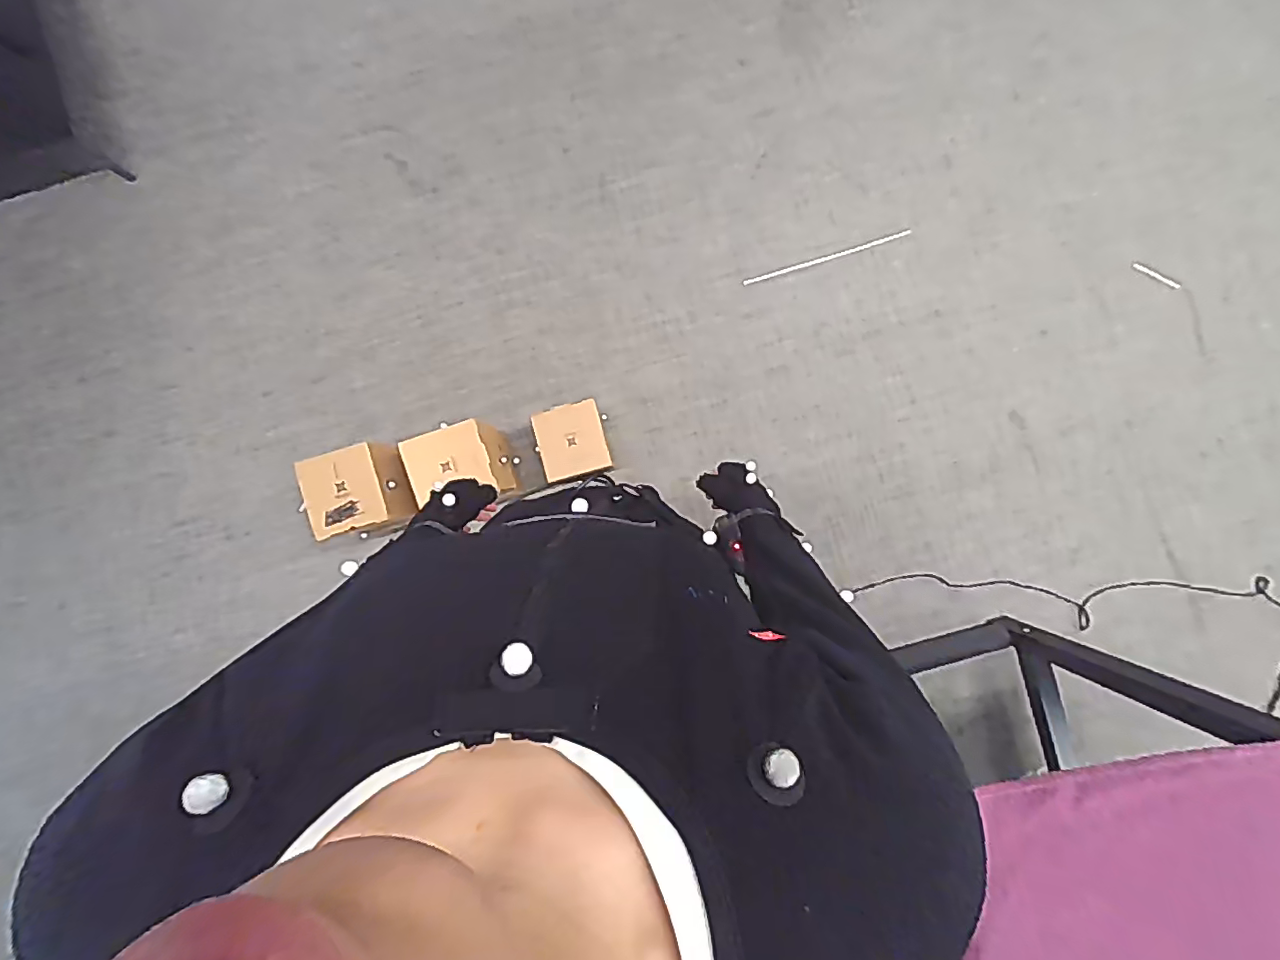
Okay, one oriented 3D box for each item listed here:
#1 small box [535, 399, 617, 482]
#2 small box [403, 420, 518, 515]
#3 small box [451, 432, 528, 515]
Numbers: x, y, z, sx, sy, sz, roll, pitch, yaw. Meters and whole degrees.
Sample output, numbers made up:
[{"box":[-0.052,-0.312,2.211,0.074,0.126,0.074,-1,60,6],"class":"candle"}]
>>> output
[{"box":[-0.160,-0.095,1.400,0.168,0.176,0.179,-16,90,0],"class":"small box"},{"box":[-0.401,-0.025,1.234,0.179,0.176,0.168,-20,90,-1],"class":"small box"},{"box":[-0.405,-0.018,1.397,0.168,0.176,0.179,-18,89,1],"class":"small box"}]
